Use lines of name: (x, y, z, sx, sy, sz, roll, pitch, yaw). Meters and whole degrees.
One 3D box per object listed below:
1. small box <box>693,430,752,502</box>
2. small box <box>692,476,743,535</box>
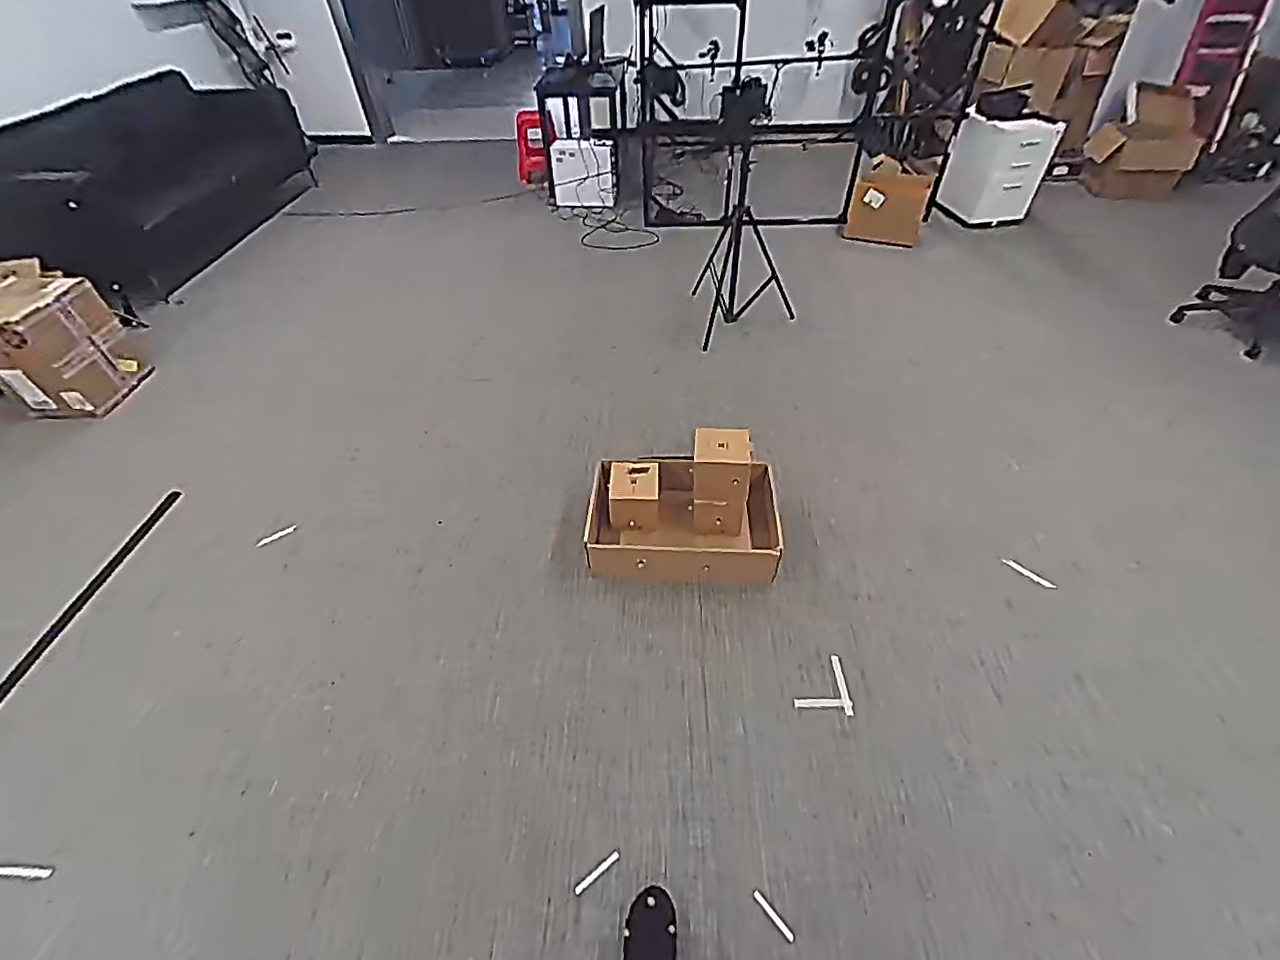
small box: (0.264, -0.043, 1.747, 0.179, 0.176, 0.168, 1, 44, 7)
small box: (0.268, 0.076, 1.861, 0.168, 0.176, 0.179, 0, 47, 7)
